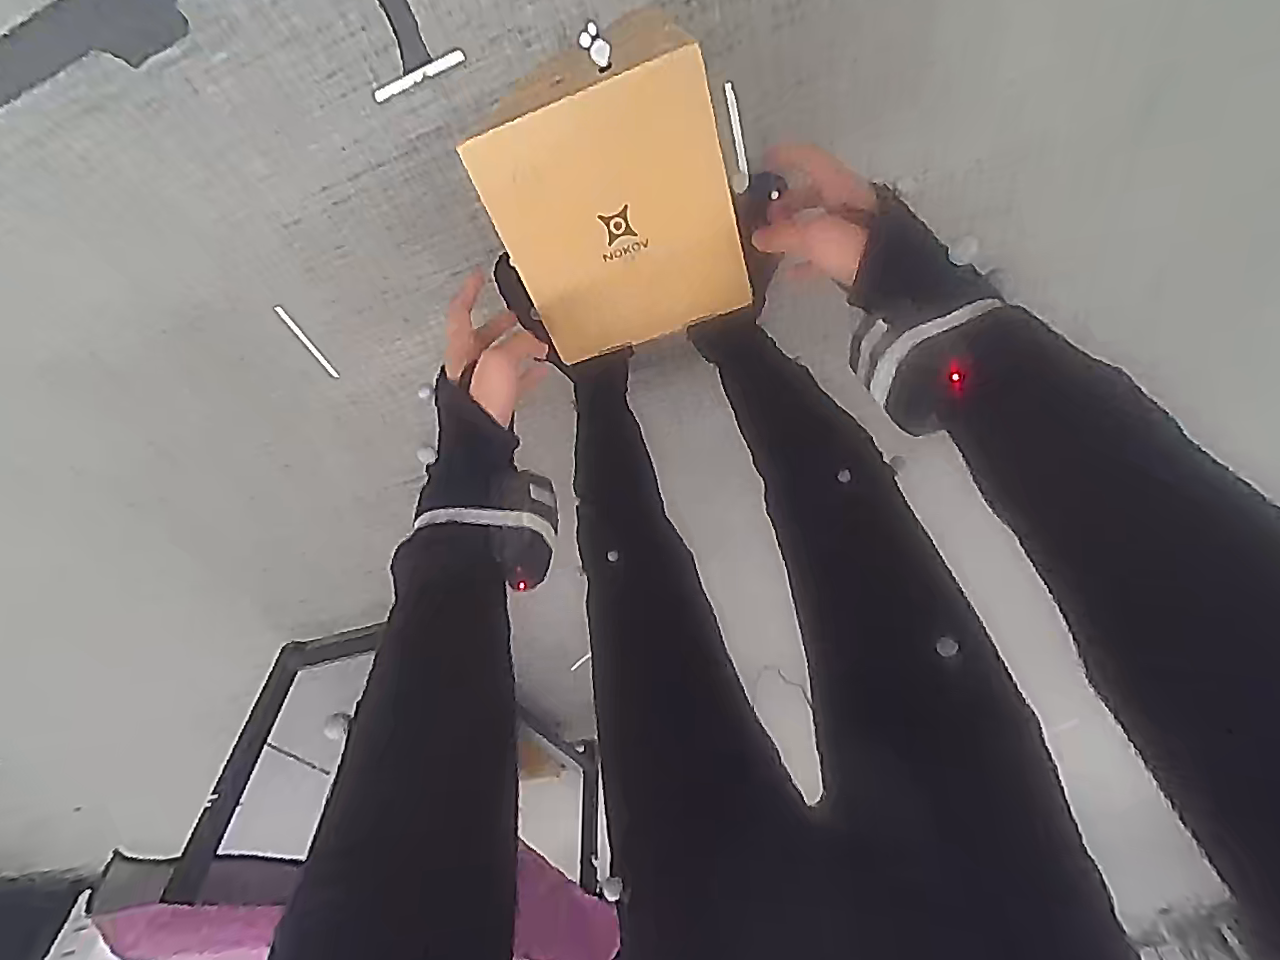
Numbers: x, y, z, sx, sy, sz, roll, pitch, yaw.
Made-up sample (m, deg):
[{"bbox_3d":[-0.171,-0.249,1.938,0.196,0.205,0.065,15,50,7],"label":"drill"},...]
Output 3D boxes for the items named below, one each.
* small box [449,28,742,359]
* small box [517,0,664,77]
[{"bbox_3d":[-0.026,-0.235,0.442,0.168,0.176,0.179,-15,134,10],"label":"small box"},{"bbox_3d":[-0.034,-0.464,0.677,0.168,0.176,0.179,-17,134,13],"label":"small box"}]
